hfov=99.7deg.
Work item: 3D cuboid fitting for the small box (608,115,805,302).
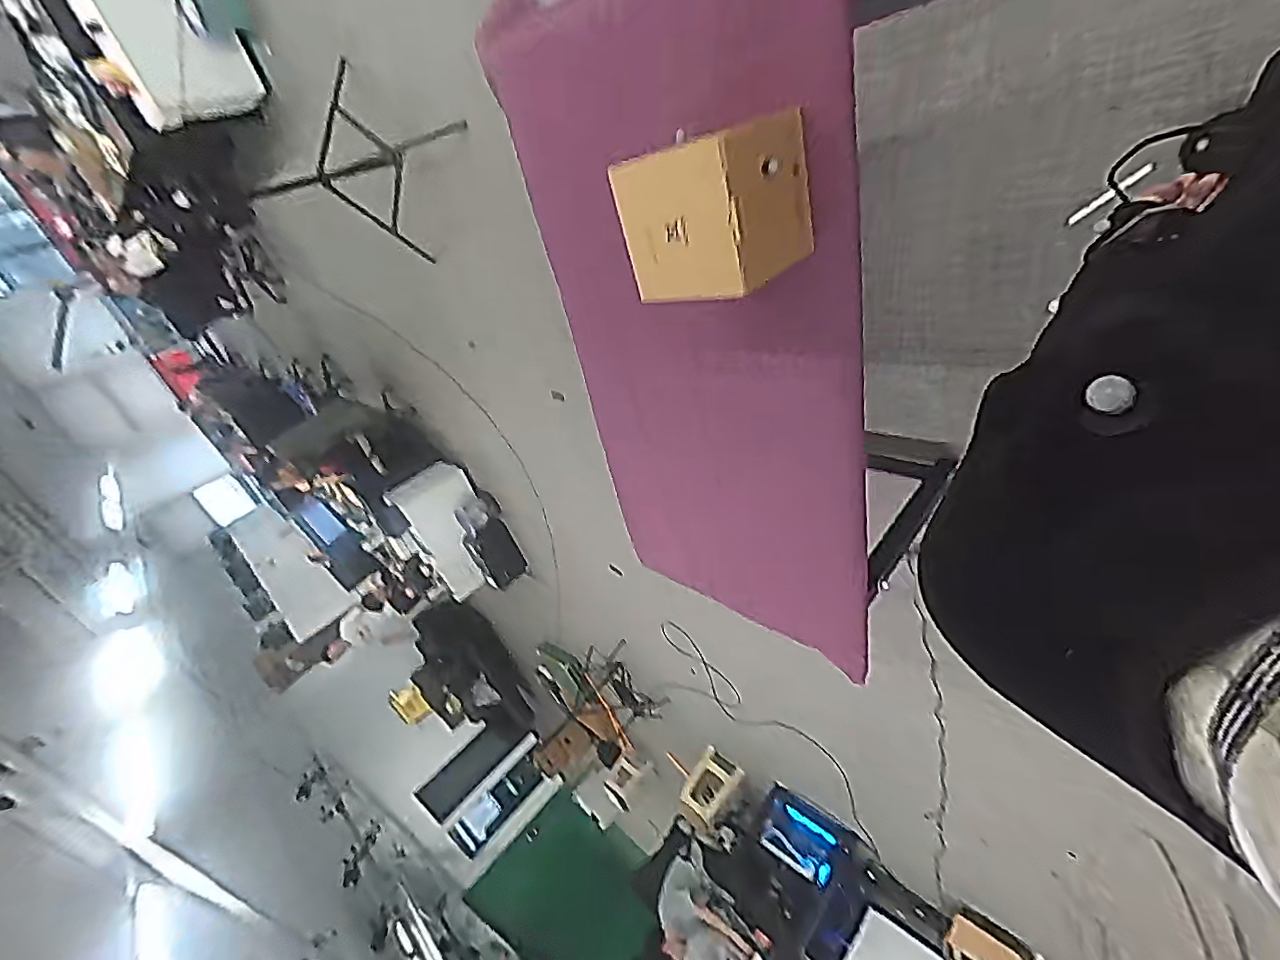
[{"bbox_3d":[0.095,-0.339,0.689,0.179,0.176,0.168,16,134,44],"label":"small box"}]
